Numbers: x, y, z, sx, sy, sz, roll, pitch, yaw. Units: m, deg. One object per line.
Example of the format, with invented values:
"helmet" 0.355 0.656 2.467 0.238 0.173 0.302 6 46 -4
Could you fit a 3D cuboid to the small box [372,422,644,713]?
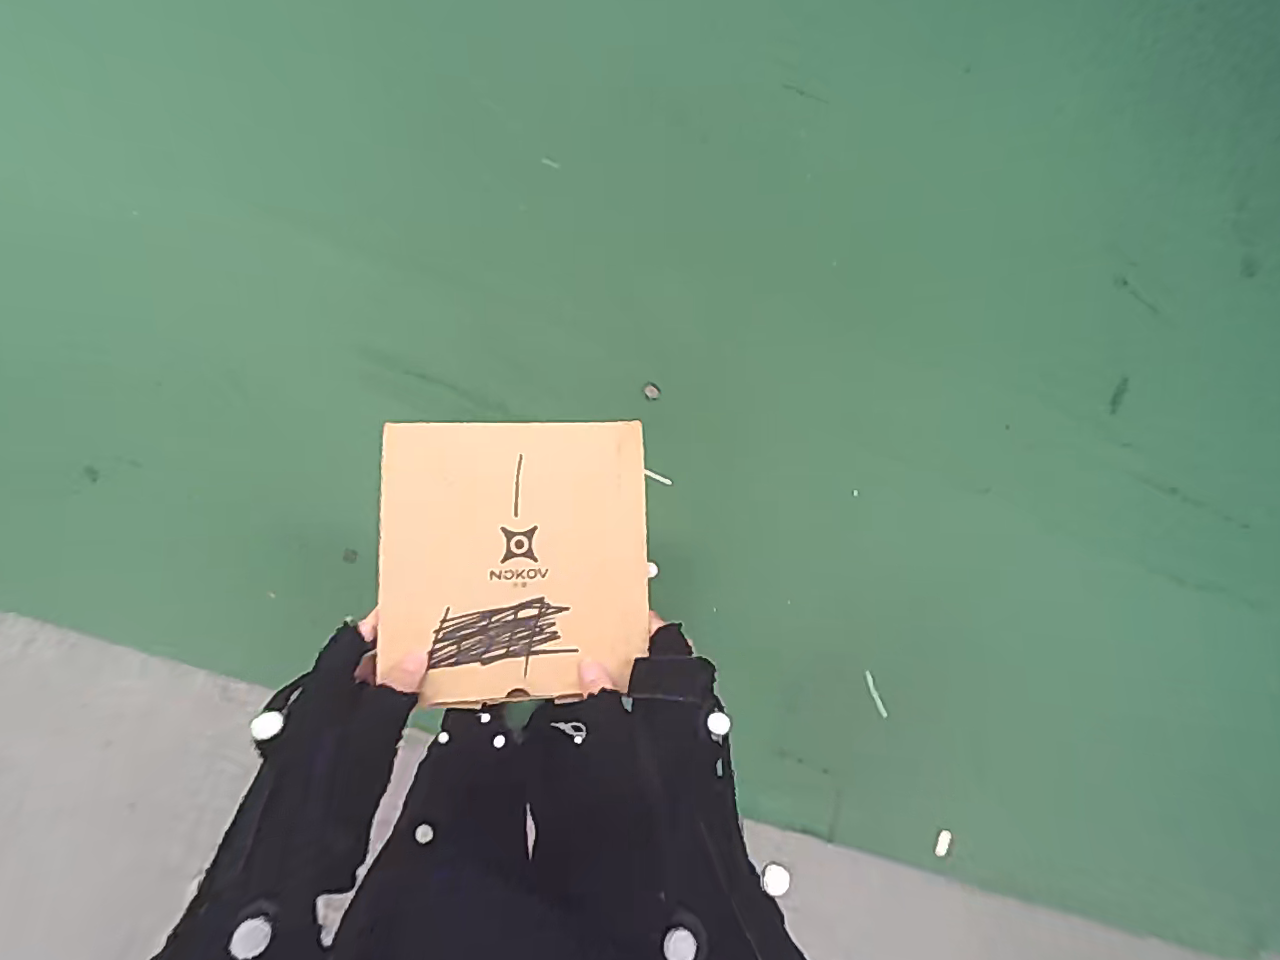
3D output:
"small box" -0.088 0.059 0.415 0.168 0.176 0.179 -2 82 -7
